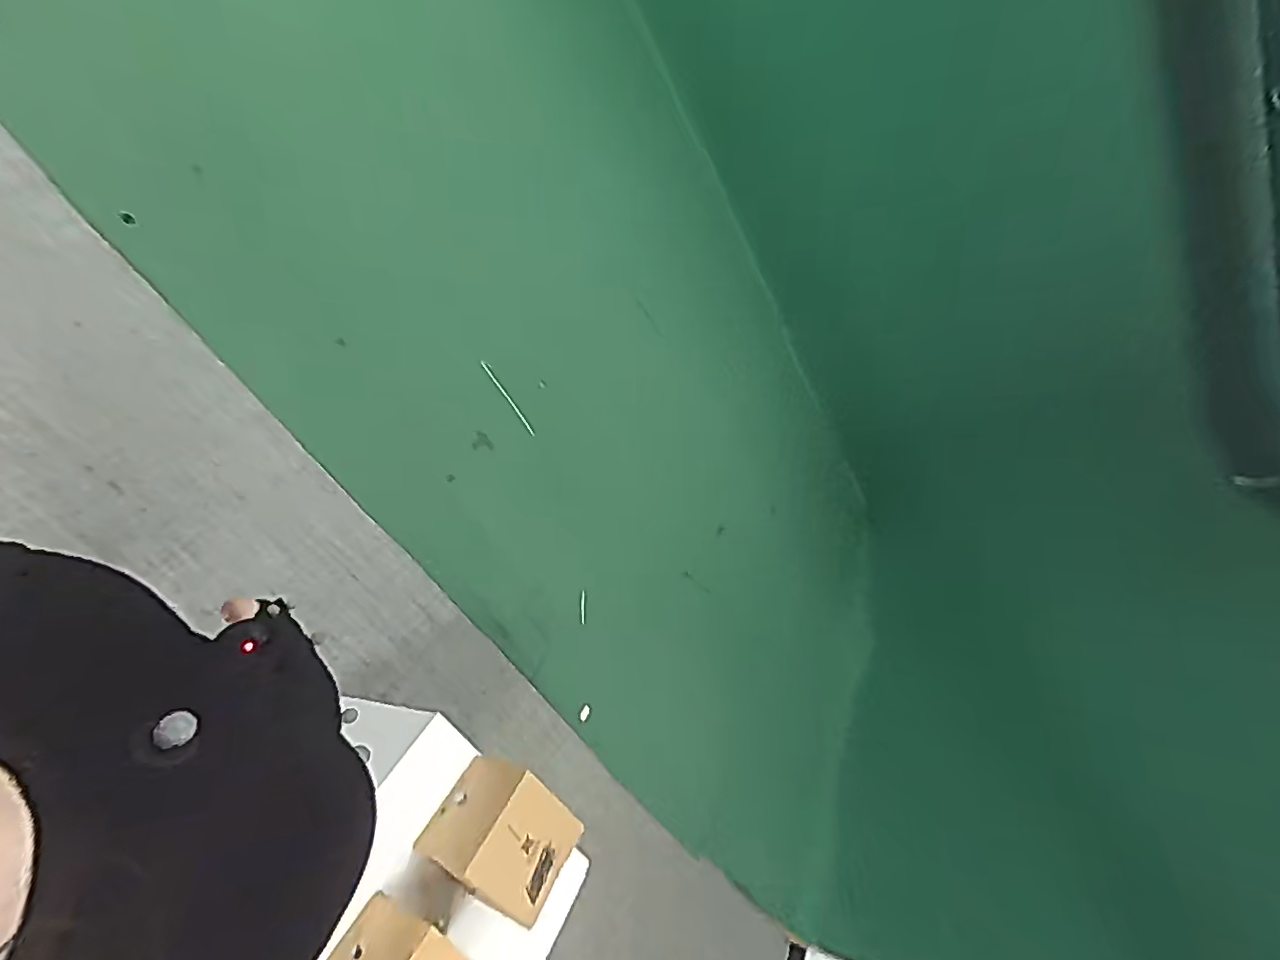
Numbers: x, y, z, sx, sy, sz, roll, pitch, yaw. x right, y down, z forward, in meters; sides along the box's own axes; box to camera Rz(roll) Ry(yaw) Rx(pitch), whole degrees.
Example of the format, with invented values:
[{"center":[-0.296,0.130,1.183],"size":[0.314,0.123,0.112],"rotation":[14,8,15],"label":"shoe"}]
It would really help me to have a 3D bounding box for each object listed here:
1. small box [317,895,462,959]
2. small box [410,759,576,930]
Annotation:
[{"center":[-0.358,0.740,0.770],"size":[0.179,0.176,0.168],"rotation":[59,42,-20],"label":"small box"},{"center":[-0.250,0.610,0.929],"size":[0.179,0.176,0.168],"rotation":[58,44,-20],"label":"small box"}]
